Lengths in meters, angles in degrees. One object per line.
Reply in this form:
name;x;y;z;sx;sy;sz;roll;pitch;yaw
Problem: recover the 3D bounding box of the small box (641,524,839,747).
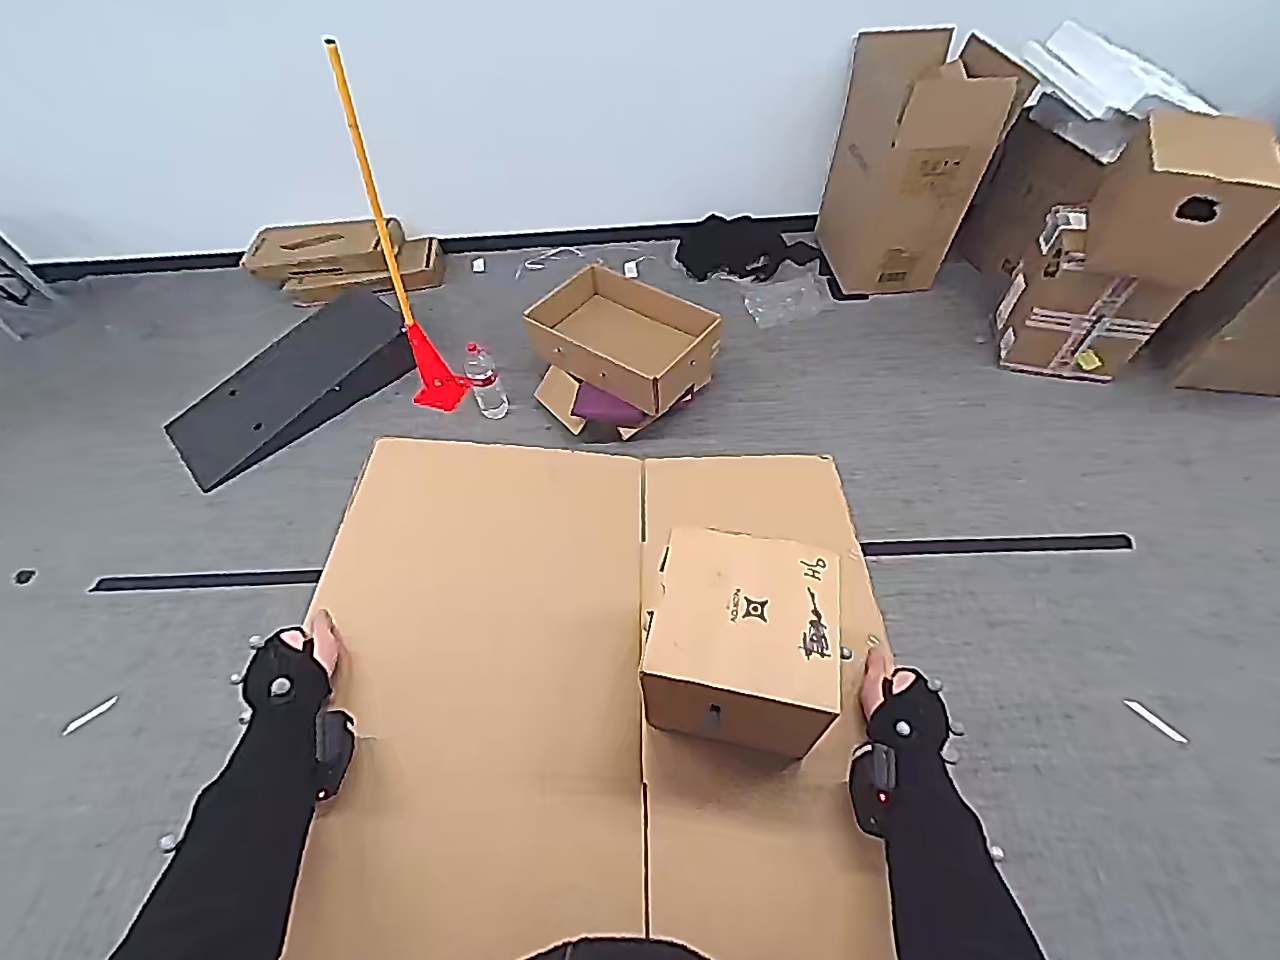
small box;0.108;0.171;0.588;0.179;0.176;0.168;8;52;11
